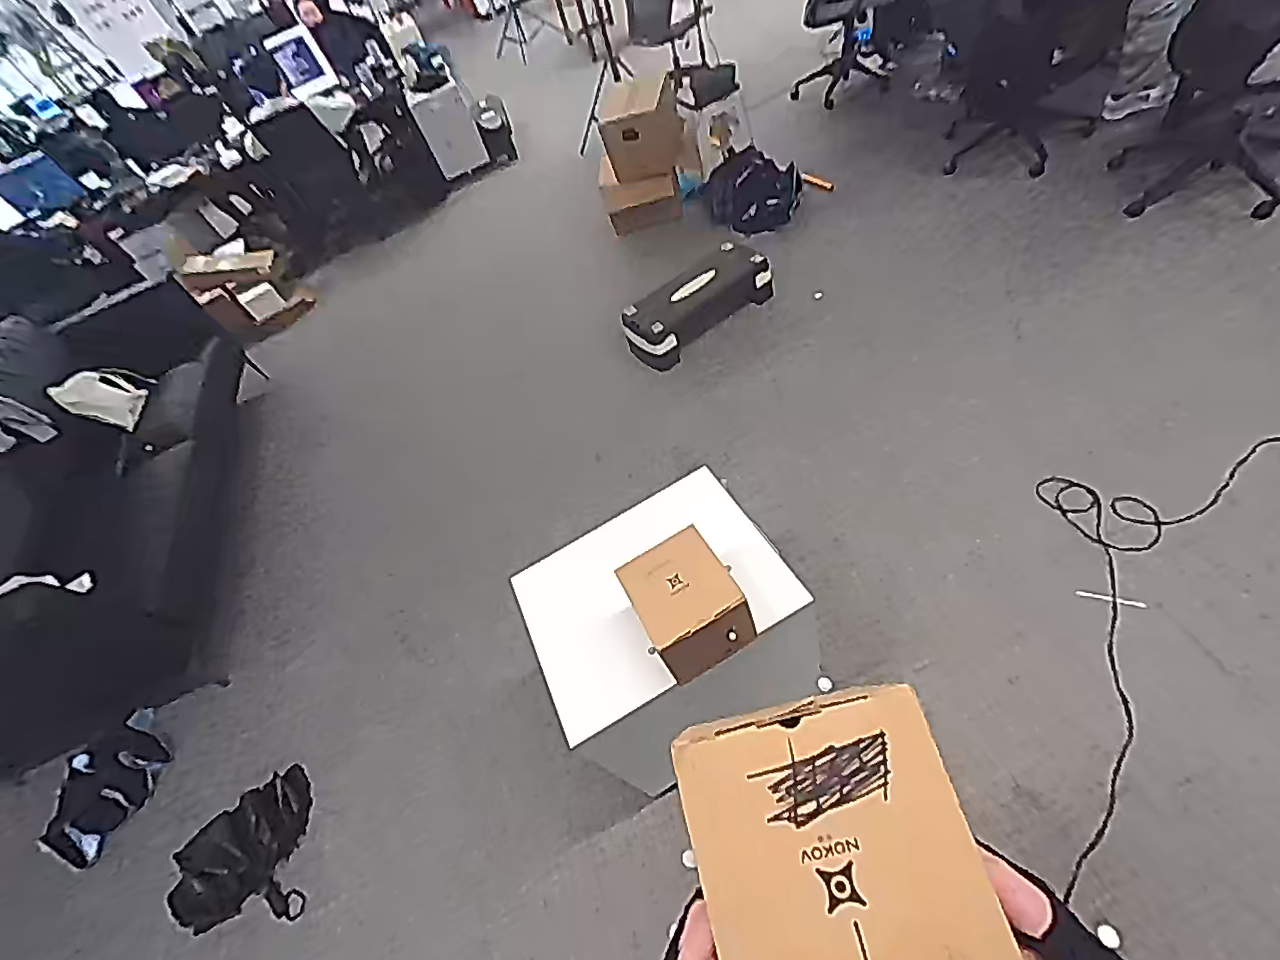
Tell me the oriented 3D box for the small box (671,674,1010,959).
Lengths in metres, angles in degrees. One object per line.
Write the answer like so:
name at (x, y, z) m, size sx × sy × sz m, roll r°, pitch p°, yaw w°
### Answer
small box at (0.125, 0.255, 0.405) m, size 0.168 × 0.176 × 0.179 m, roll -15°, pitch 68°, yaw 4°

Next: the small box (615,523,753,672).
small box at (0.082, 0.215, 0.958) m, size 0.168 × 0.176 × 0.179 m, roll -29°, pitch 47°, yaw -6°
